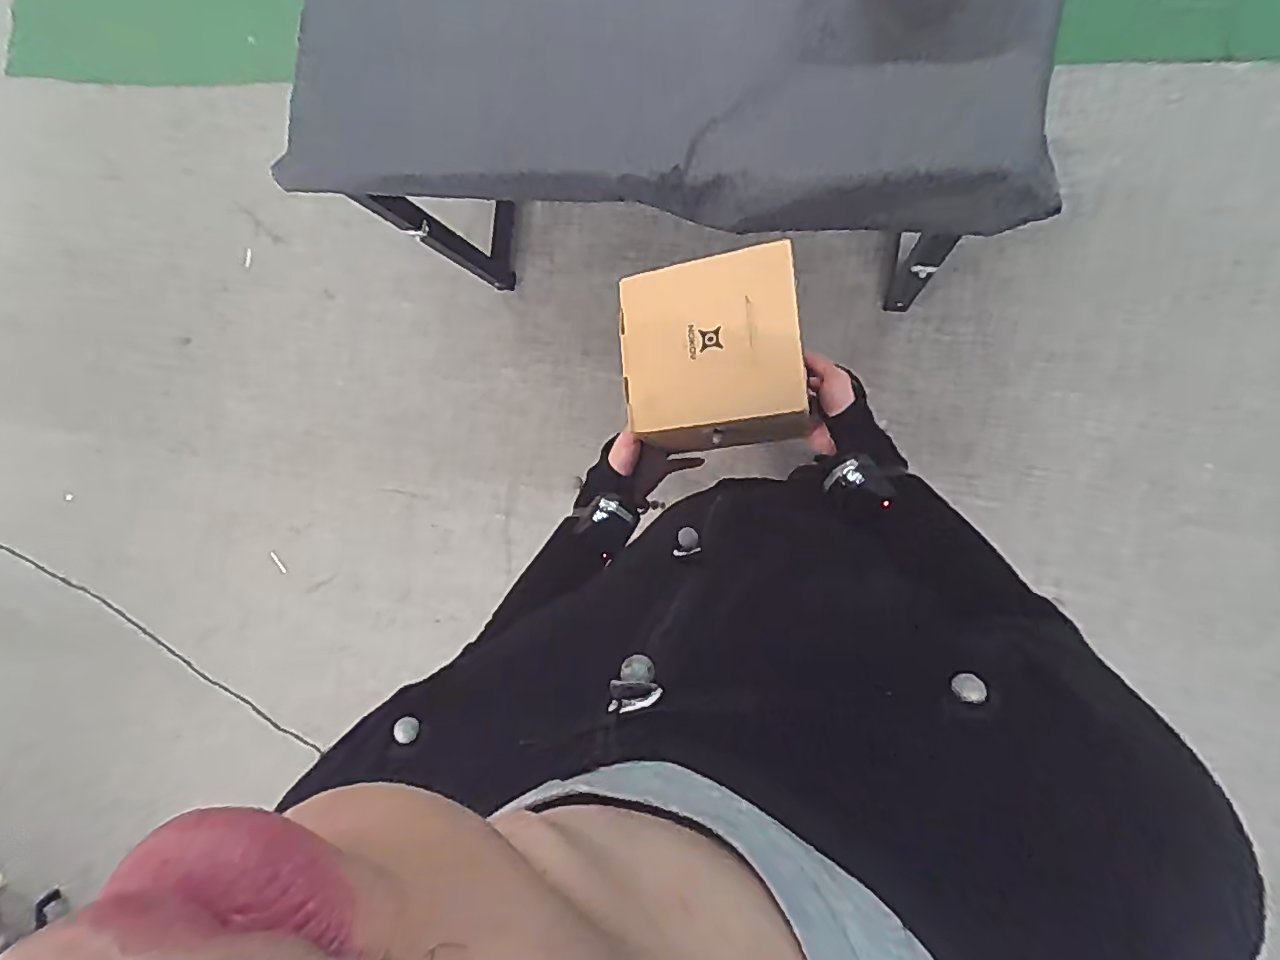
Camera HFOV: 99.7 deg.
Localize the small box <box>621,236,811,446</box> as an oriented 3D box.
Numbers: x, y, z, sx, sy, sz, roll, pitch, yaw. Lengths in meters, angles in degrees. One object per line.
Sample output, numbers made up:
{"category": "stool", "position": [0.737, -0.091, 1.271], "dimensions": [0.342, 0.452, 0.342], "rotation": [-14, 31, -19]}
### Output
{"category": "small box", "position": [0.091, -0.135, 0.600], "dimensions": [0.179, 0.176, 0.168], "rotation": [-6, 85, 17]}
